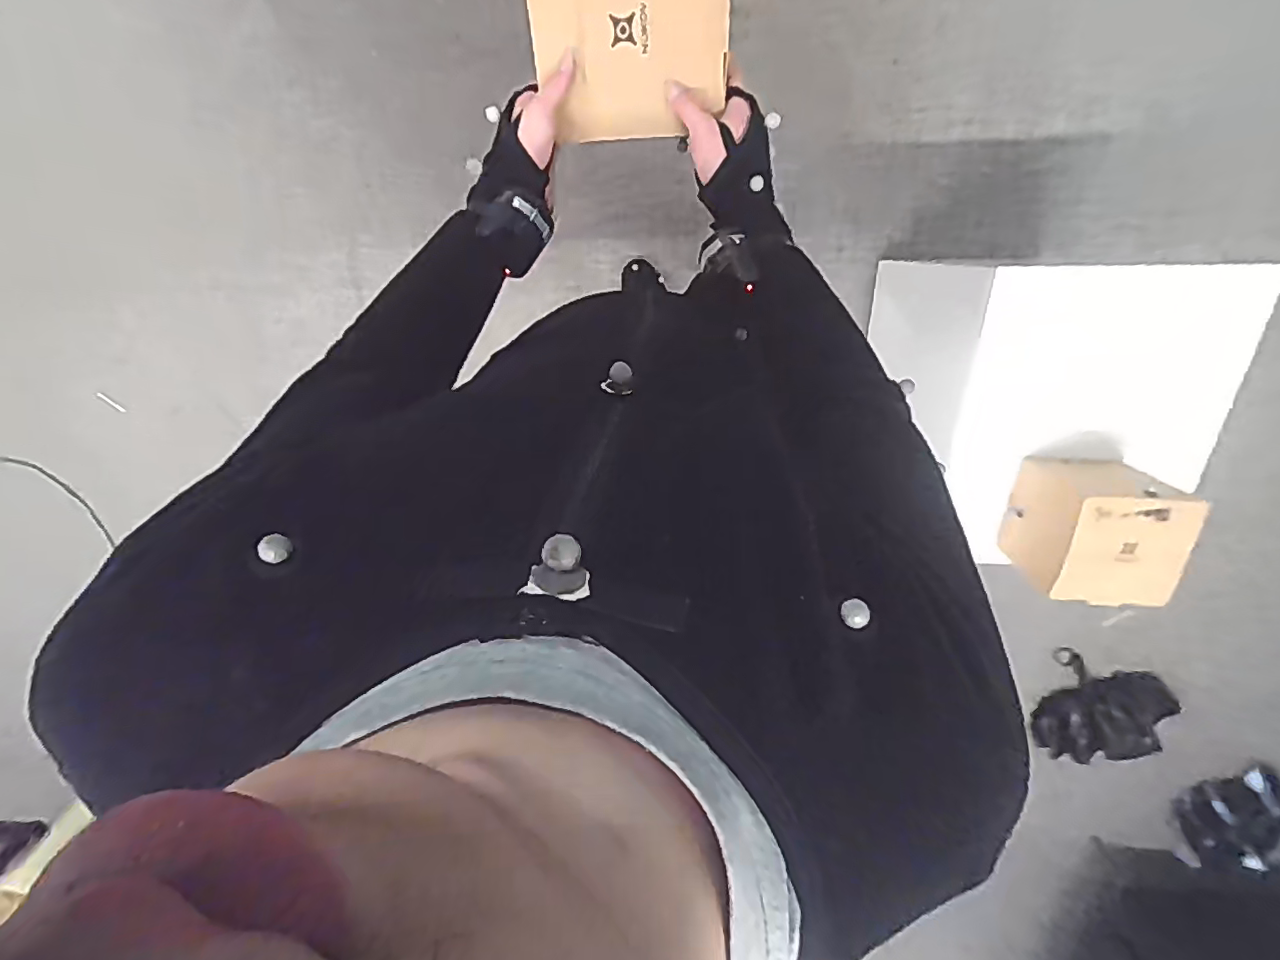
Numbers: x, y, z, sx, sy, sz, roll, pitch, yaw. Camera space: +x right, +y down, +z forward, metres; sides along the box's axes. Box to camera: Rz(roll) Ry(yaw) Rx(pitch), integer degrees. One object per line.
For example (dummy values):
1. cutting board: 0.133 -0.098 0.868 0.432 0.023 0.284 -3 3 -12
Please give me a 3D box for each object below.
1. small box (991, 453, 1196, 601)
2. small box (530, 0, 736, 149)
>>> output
1. small box: 0.708 0.070 0.874 0.168 0.176 0.179 3 114 2
2. small box: 0.002 -0.431 0.531 0.179 0.176 0.168 0 123 8
